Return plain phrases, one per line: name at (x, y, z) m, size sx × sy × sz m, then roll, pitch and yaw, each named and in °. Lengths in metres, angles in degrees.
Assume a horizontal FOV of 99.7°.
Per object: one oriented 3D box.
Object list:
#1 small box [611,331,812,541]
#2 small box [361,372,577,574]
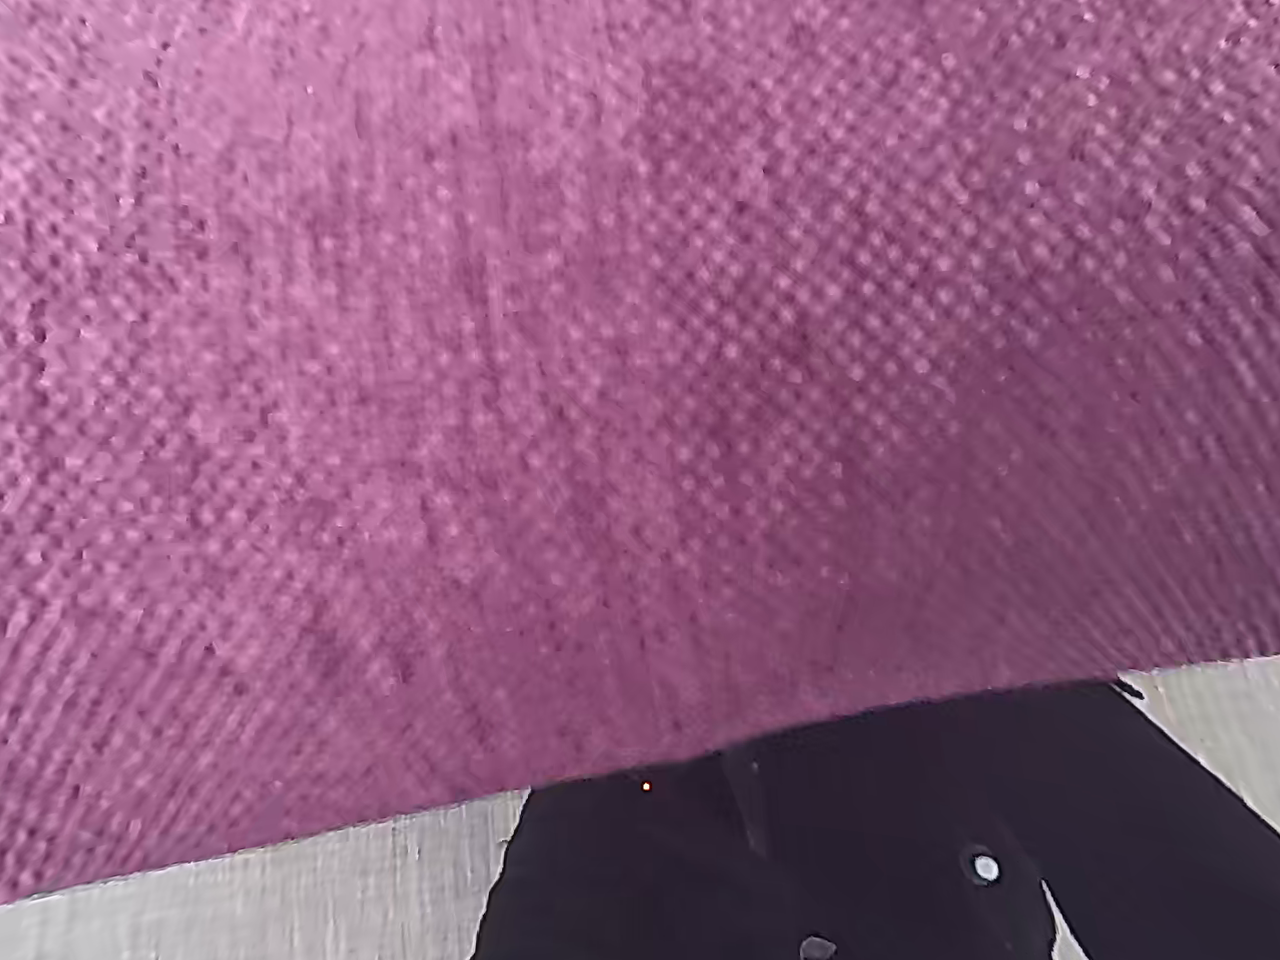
small box at (0.063, -0.033, 0.579) m, size 0.168 × 0.176 × 0.179 m, roll -8°, pitch 77°, yaw -4°
small box at (-0.171, 0.004, 0.592) m, size 0.179 × 0.176 × 0.168 m, roll -13°, pitch 78°, yaw -1°
